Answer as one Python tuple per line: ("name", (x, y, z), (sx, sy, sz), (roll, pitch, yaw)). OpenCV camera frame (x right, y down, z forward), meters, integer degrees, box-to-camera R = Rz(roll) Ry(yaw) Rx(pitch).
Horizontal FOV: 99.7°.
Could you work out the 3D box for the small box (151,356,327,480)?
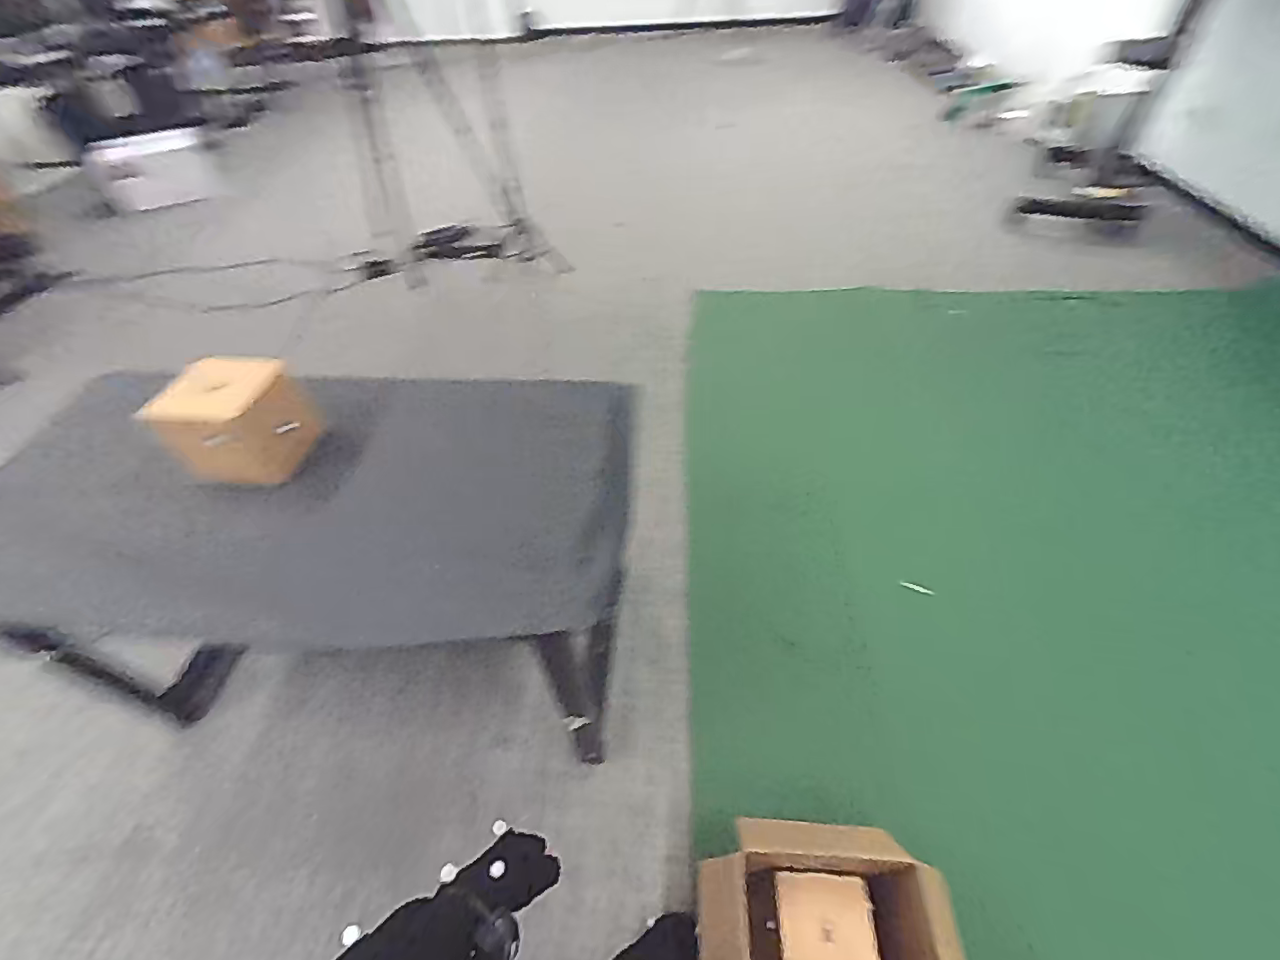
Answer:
("small box", (-0.743, -0.115, 1.031), (0.179, 0.176, 0.168), (4, 48, 7))
